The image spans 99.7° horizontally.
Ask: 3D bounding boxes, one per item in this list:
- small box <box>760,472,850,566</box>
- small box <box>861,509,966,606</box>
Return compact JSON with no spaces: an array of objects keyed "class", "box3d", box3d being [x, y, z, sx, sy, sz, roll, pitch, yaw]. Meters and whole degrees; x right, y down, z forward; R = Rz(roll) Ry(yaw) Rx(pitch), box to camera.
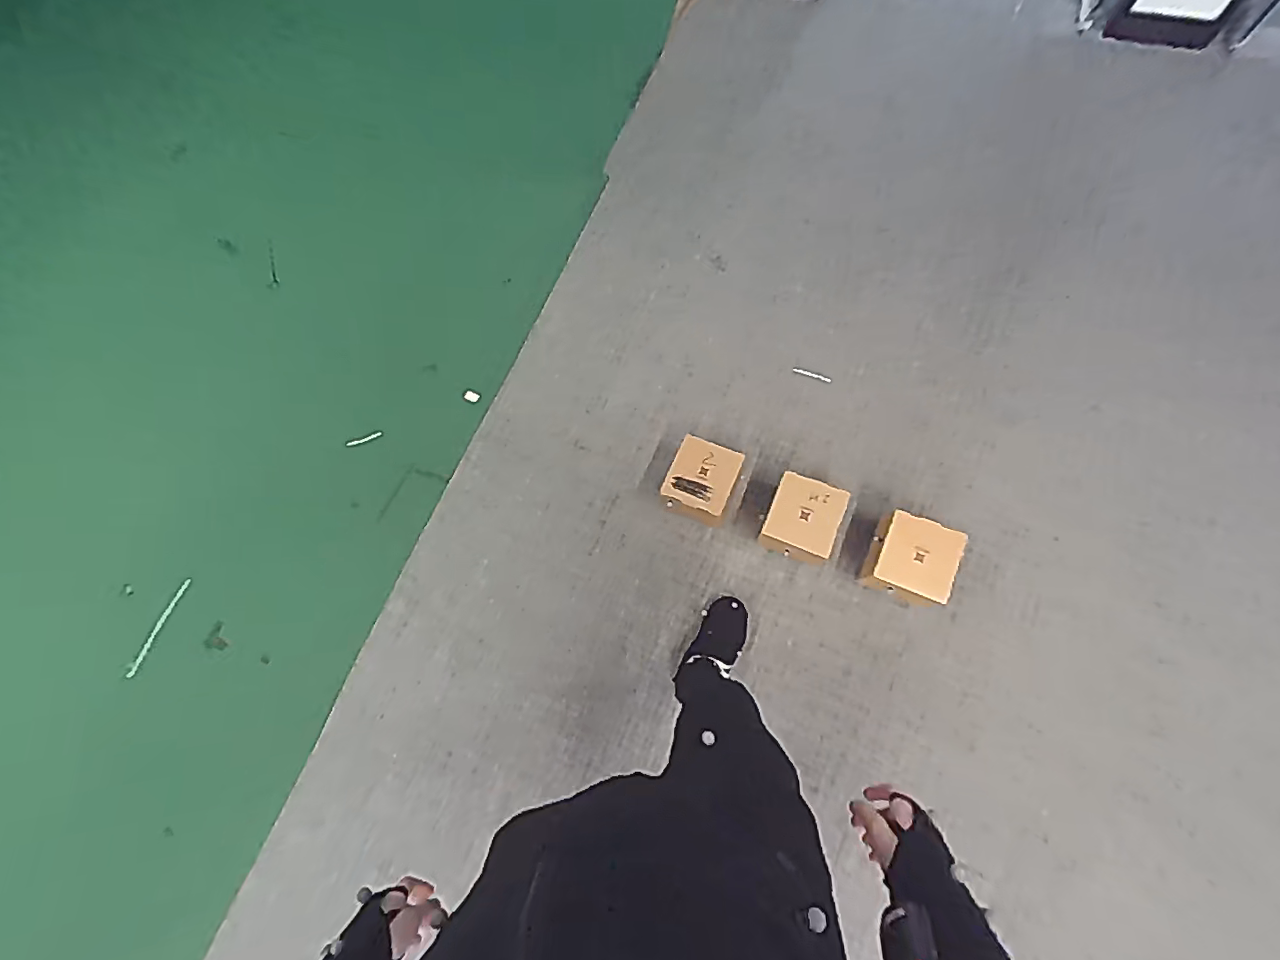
[{"class":"small box","box3d":[0.411,0.105,1.379,0.168,0.176,0.179,21,78,13]},{"class":"small box","box3d":[0.656,0.196,1.319,0.168,0.176,0.179,21,78,14]}]
